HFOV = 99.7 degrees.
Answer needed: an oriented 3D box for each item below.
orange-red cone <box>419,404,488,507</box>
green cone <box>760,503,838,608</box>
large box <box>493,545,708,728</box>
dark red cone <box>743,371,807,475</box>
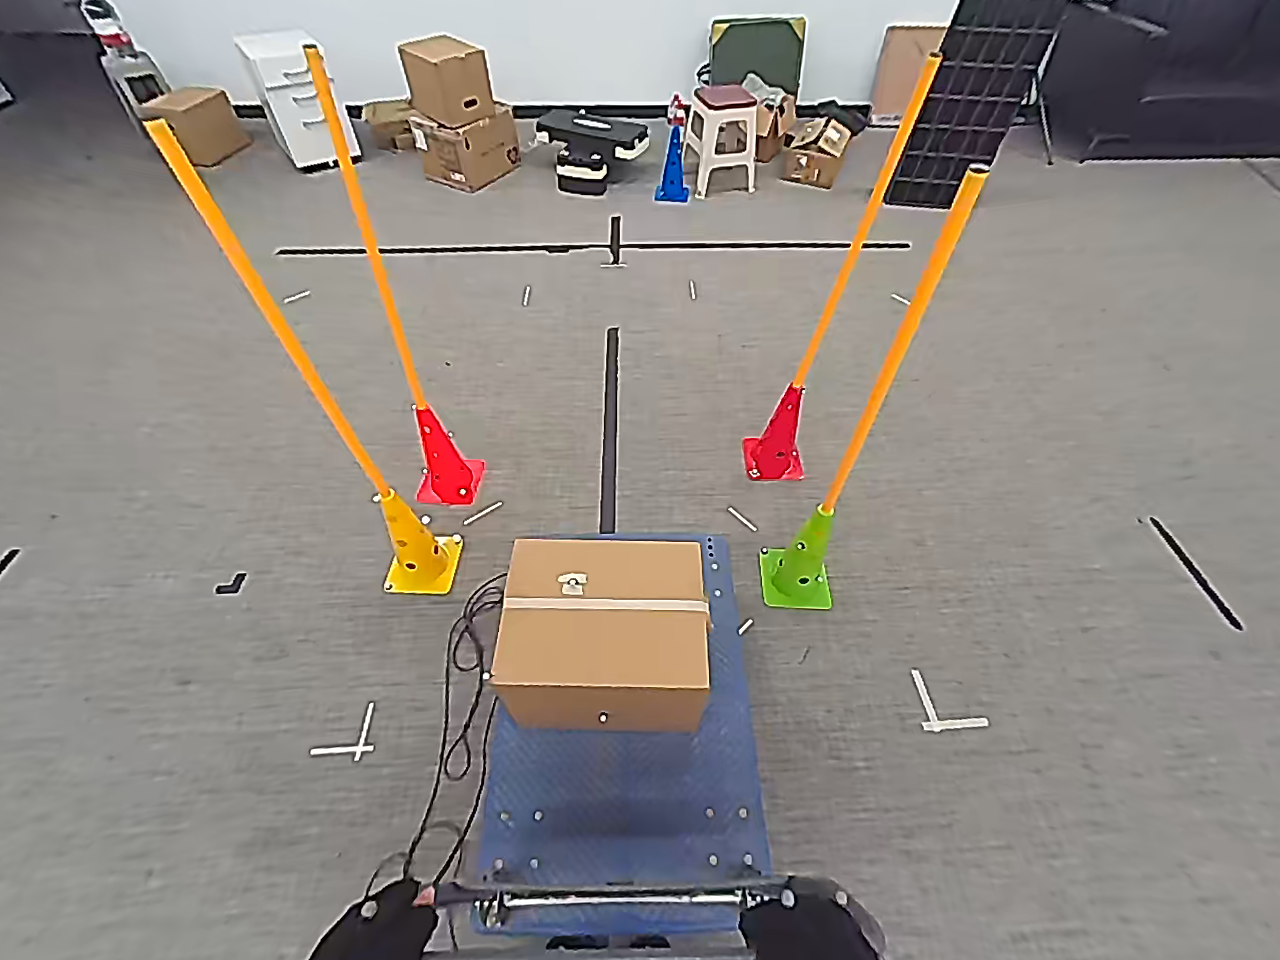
[{"bbox_3d":[-0.642,-0.103,1.751,0.198,0.360,0.199,6,50,3],"label":"orange-red cone"},{"bbox_3d":[0.477,0.189,1.521,0.202,0.368,0.200,3,51,0],"label":"green cone"},{"bbox_3d":[-0.070,0.353,1.199,0.408,0.320,0.320,1,51,1],"label":"large box"},{"bbox_3d":[0.486,-0.198,1.813,0.201,0.394,0.202,0,51,-3],"label":"dark red cone"}]
